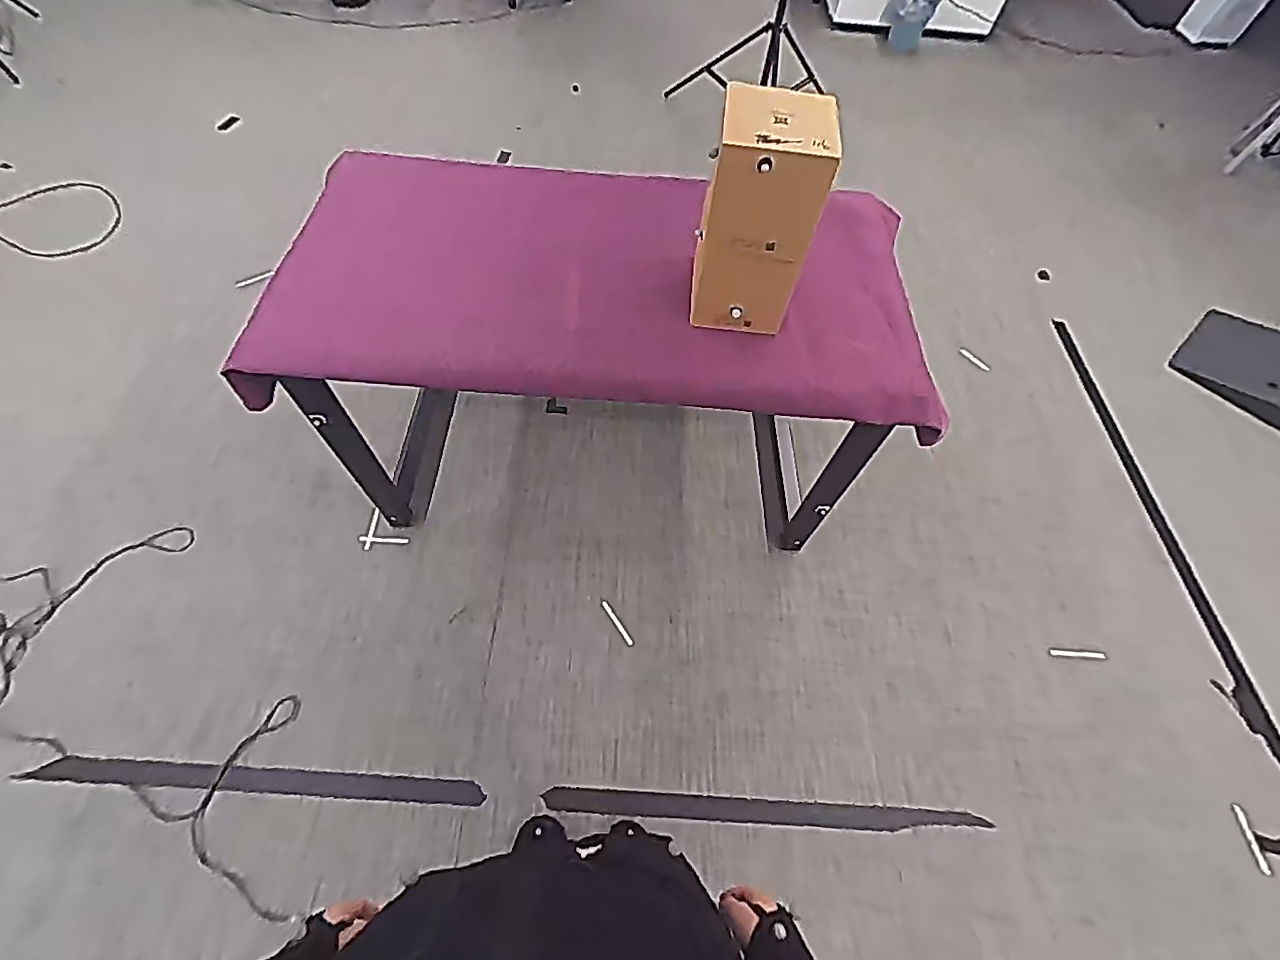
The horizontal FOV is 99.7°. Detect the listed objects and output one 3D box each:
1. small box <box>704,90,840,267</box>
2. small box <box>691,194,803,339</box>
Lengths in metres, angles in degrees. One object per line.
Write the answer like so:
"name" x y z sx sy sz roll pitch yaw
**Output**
"small box" 0.196 -0.465 0.842 0.168 0.176 0.179 8 58 1
"small box" 0.186 -0.385 0.985 0.168 0.176 0.179 6 59 0
